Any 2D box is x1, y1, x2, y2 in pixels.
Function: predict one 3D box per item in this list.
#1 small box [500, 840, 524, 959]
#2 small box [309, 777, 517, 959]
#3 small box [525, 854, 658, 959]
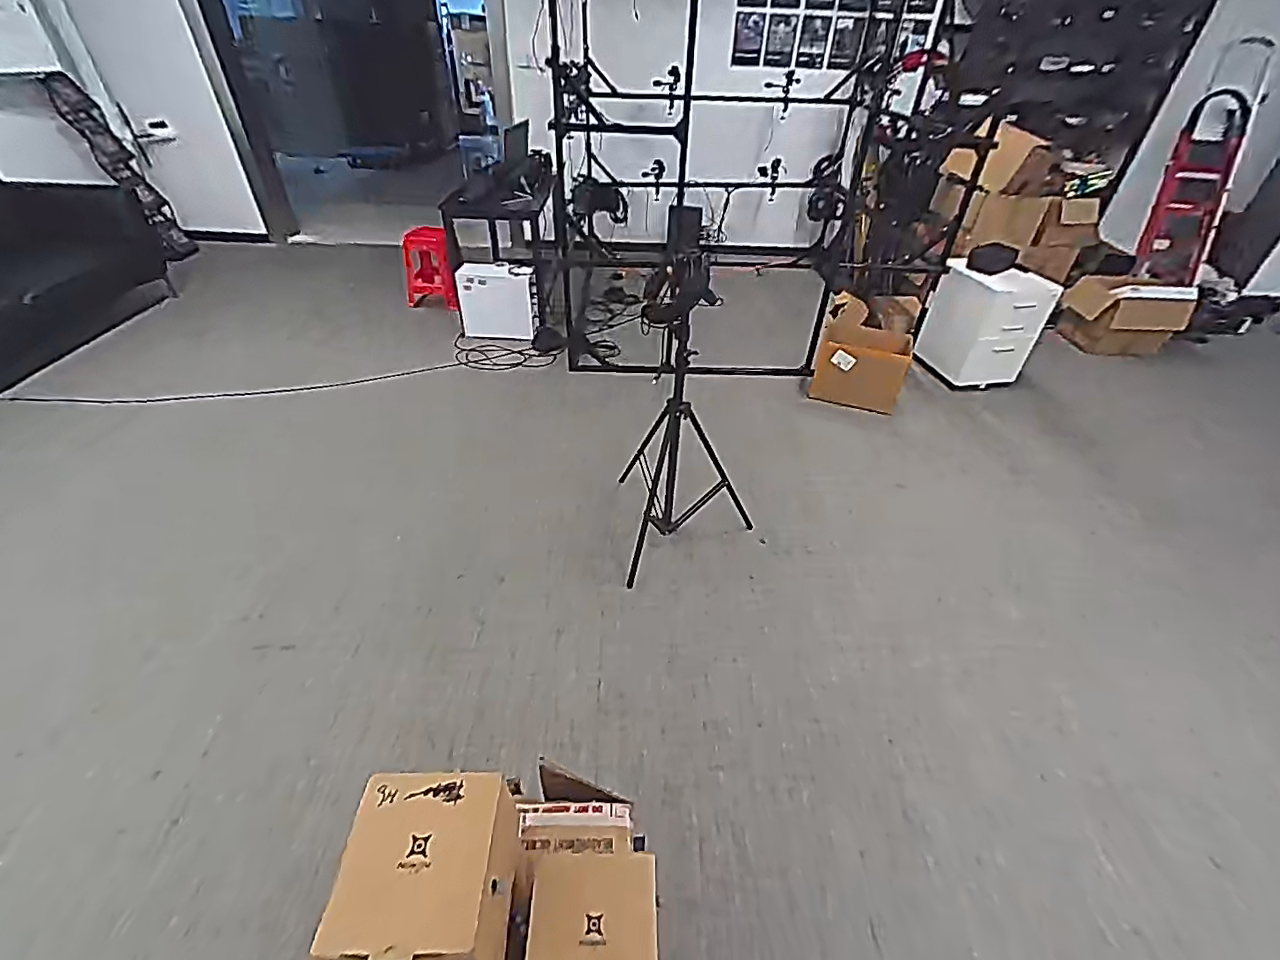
[{"bbox_3d":[-0.257,0.613,0.748,0.168,0.176,0.179,-1,42,-3],"label":"small box"},{"bbox_3d":[-0.250,0.481,0.651,0.168,0.176,0.179,0,42,-1],"label":"small box"},{"bbox_3d":[-0.065,0.637,0.732,0.168,0.176,0.179,2,40,-2],"label":"small box"}]
